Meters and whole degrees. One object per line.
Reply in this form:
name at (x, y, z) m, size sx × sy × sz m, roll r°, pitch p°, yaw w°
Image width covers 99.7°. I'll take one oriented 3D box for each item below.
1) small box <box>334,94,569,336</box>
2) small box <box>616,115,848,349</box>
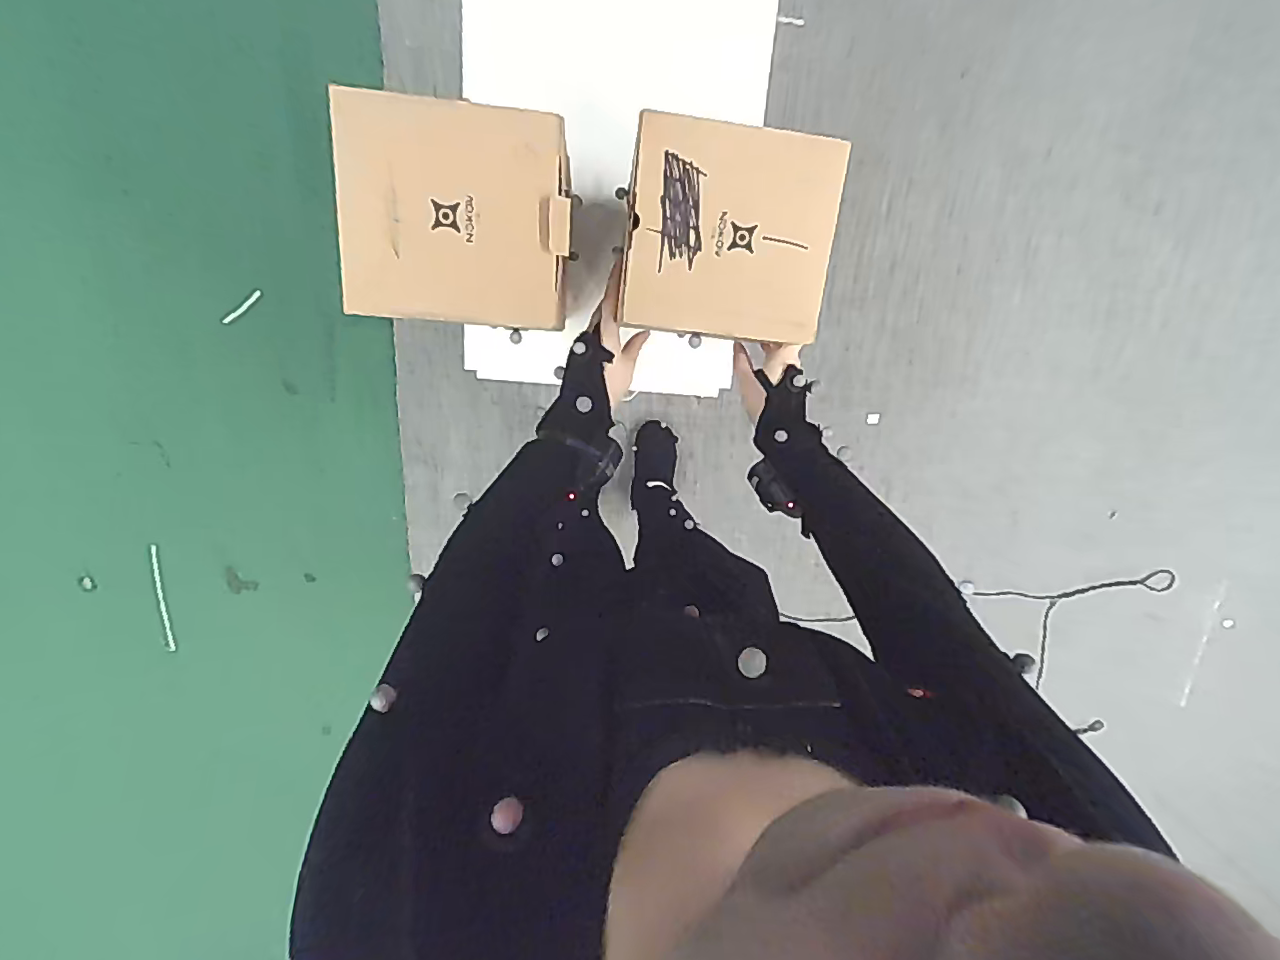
small box at (-0.159, -0.228, 0.513) m, size 0.179 × 0.176 × 0.168 m, roll 3°, pitch 104°, yaw -6°
small box at (0.071, -0.223, 0.532) m, size 0.179 × 0.176 × 0.168 m, roll 6°, pitch 104°, yaw -6°
